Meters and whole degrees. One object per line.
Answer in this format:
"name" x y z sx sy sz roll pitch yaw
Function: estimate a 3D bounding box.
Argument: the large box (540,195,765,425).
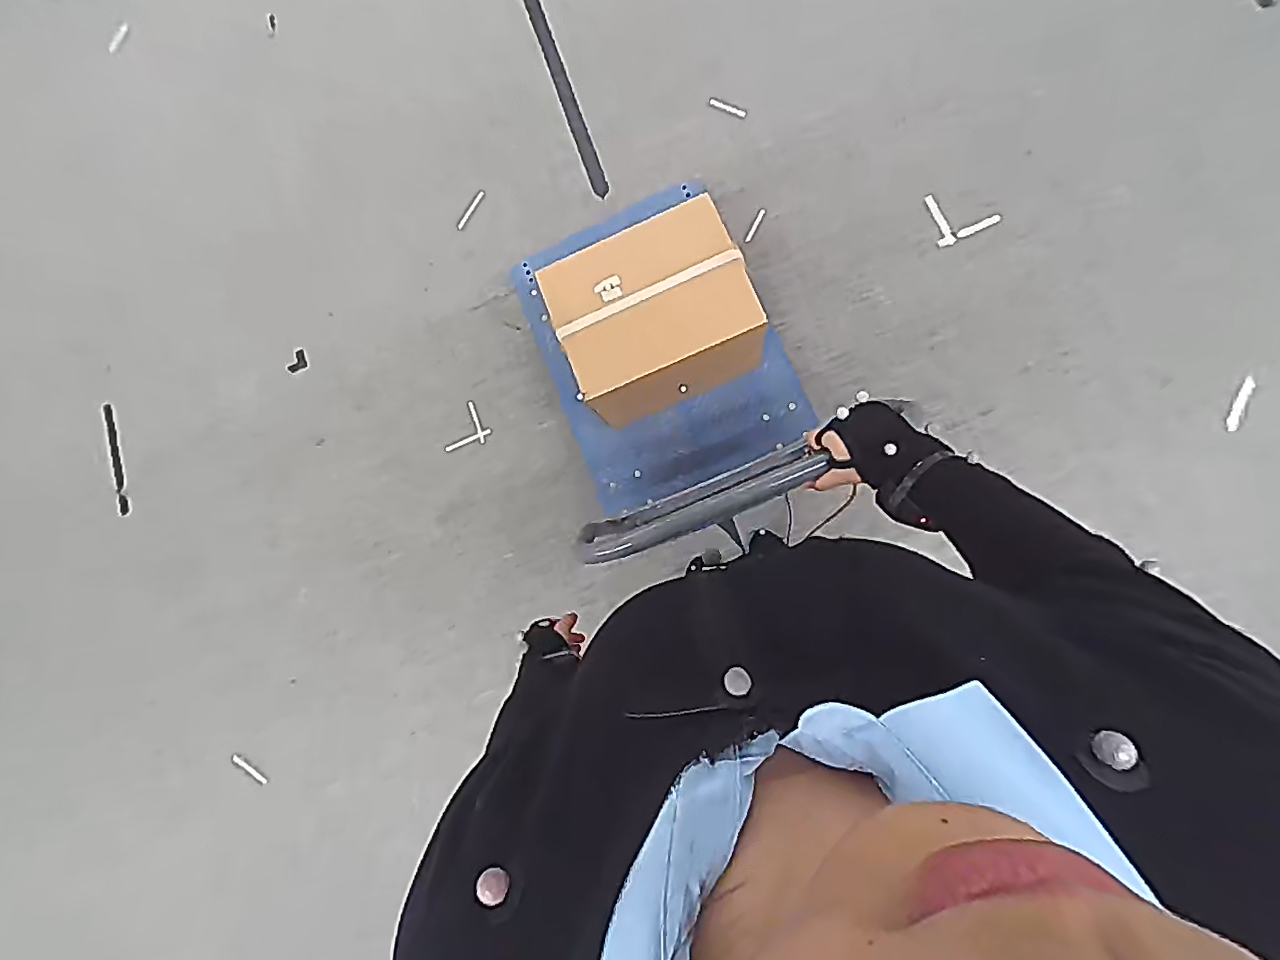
"large box" 0.042 -0.370 1.277 0.408 0.320 0.320 -23 80 6
